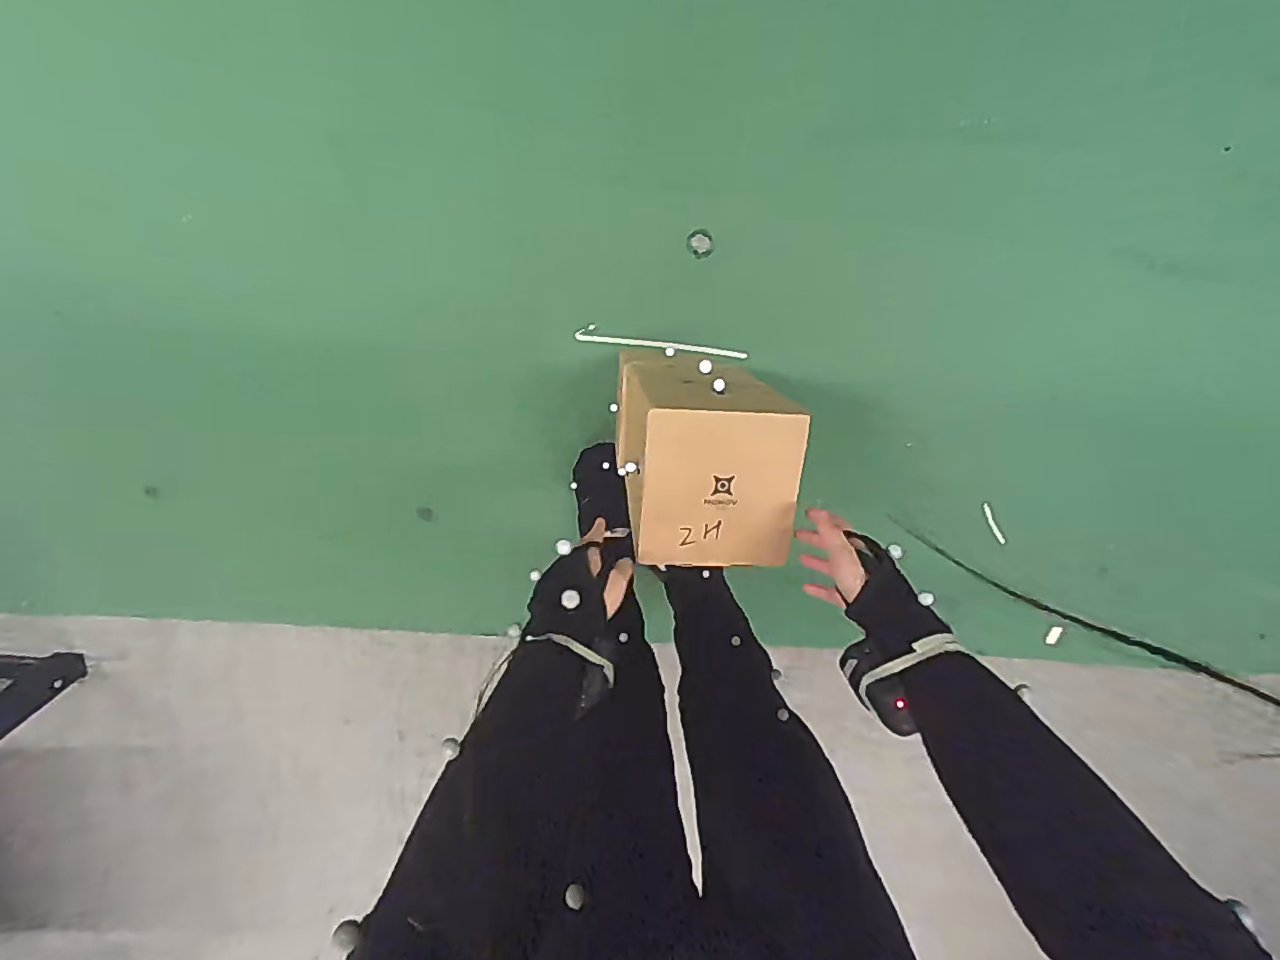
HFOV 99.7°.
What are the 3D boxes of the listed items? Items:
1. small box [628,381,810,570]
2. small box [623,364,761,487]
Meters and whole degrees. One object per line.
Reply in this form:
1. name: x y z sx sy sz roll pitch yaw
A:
1. small box: 0.076 -0.014 0.631 0.168 0.176 0.179 3 111 -5
2. small box: 0.064 -0.070 0.786 0.168 0.176 0.179 1 111 -5
